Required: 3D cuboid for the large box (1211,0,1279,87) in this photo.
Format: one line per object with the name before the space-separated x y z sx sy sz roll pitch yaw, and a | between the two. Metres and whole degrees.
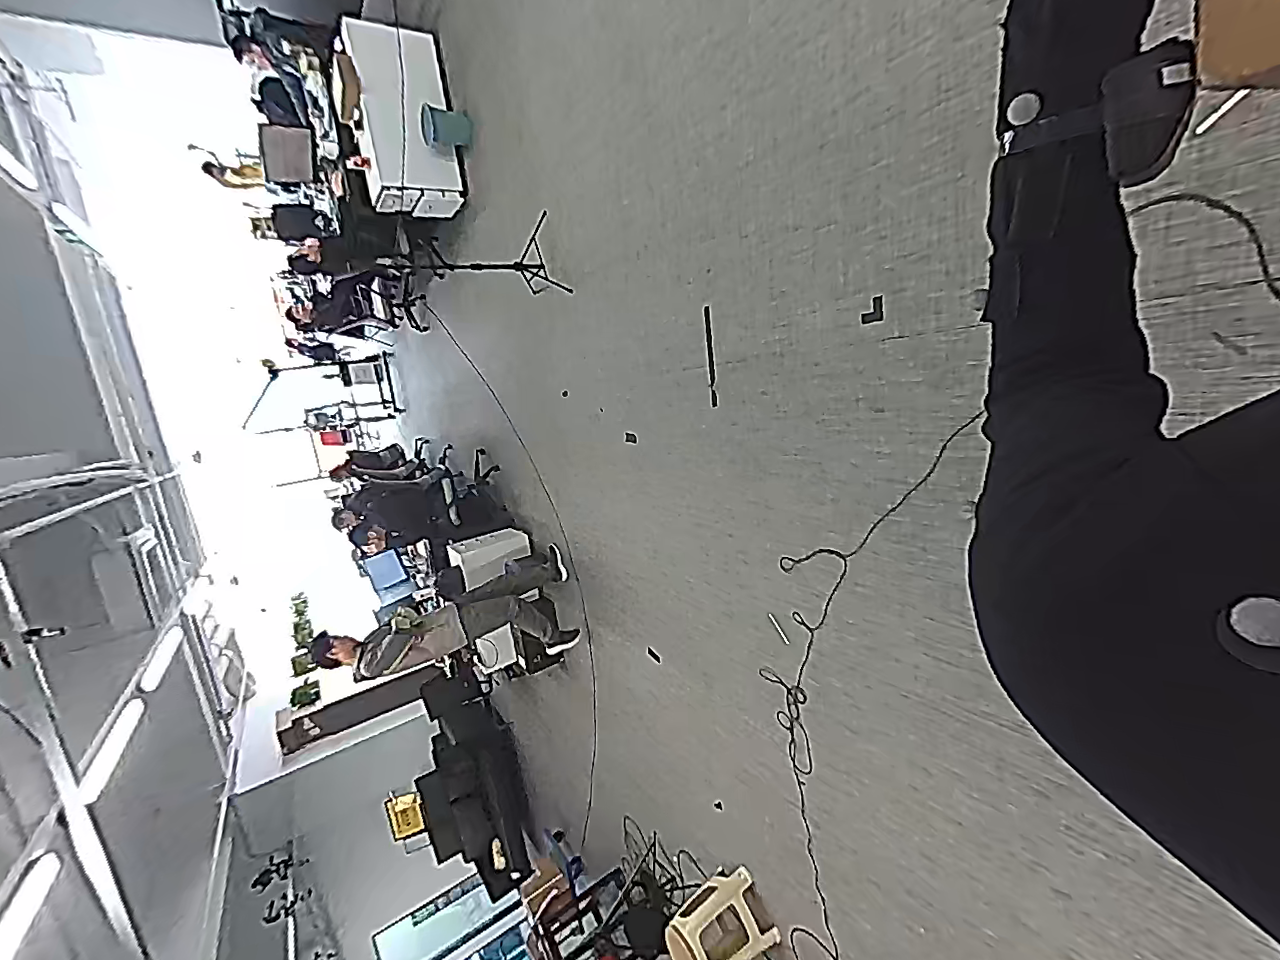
large box | 0.484 -0.389 0.159 0.408 0.320 0.320 6 117 56
